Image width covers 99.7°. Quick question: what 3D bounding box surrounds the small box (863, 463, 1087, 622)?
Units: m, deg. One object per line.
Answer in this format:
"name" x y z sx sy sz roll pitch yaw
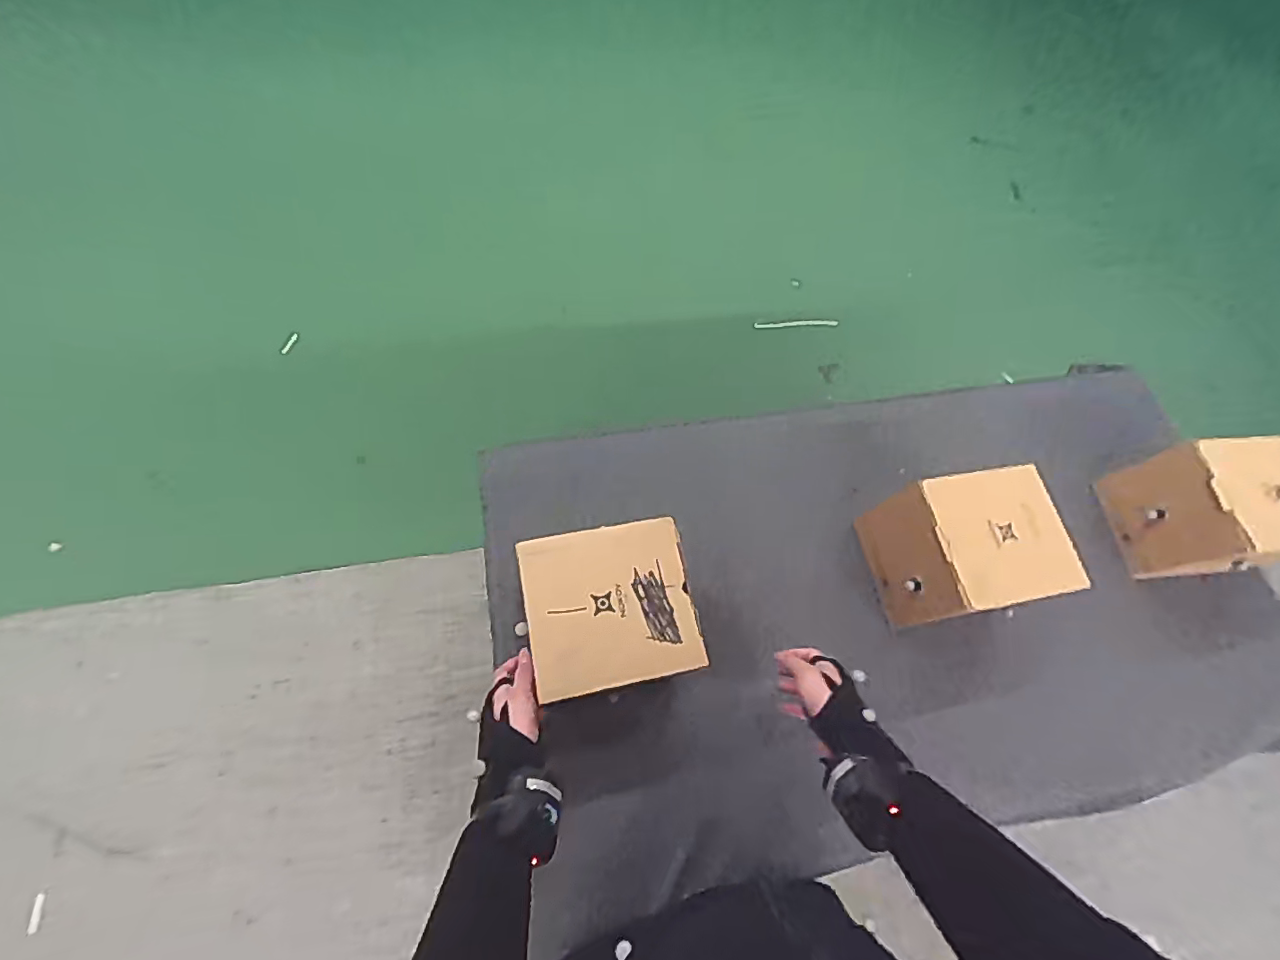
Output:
"small box" 0.434 0.092 0.740 0.179 0.176 0.168 -8 71 -13

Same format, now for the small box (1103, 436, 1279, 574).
"small box" 0.861 0.044 0.821 0.179 0.176 0.168 -2 70 -9

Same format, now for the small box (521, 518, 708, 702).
"small box" -0.040 0.155 0.636 0.179 0.176 0.168 -8 70 -12
